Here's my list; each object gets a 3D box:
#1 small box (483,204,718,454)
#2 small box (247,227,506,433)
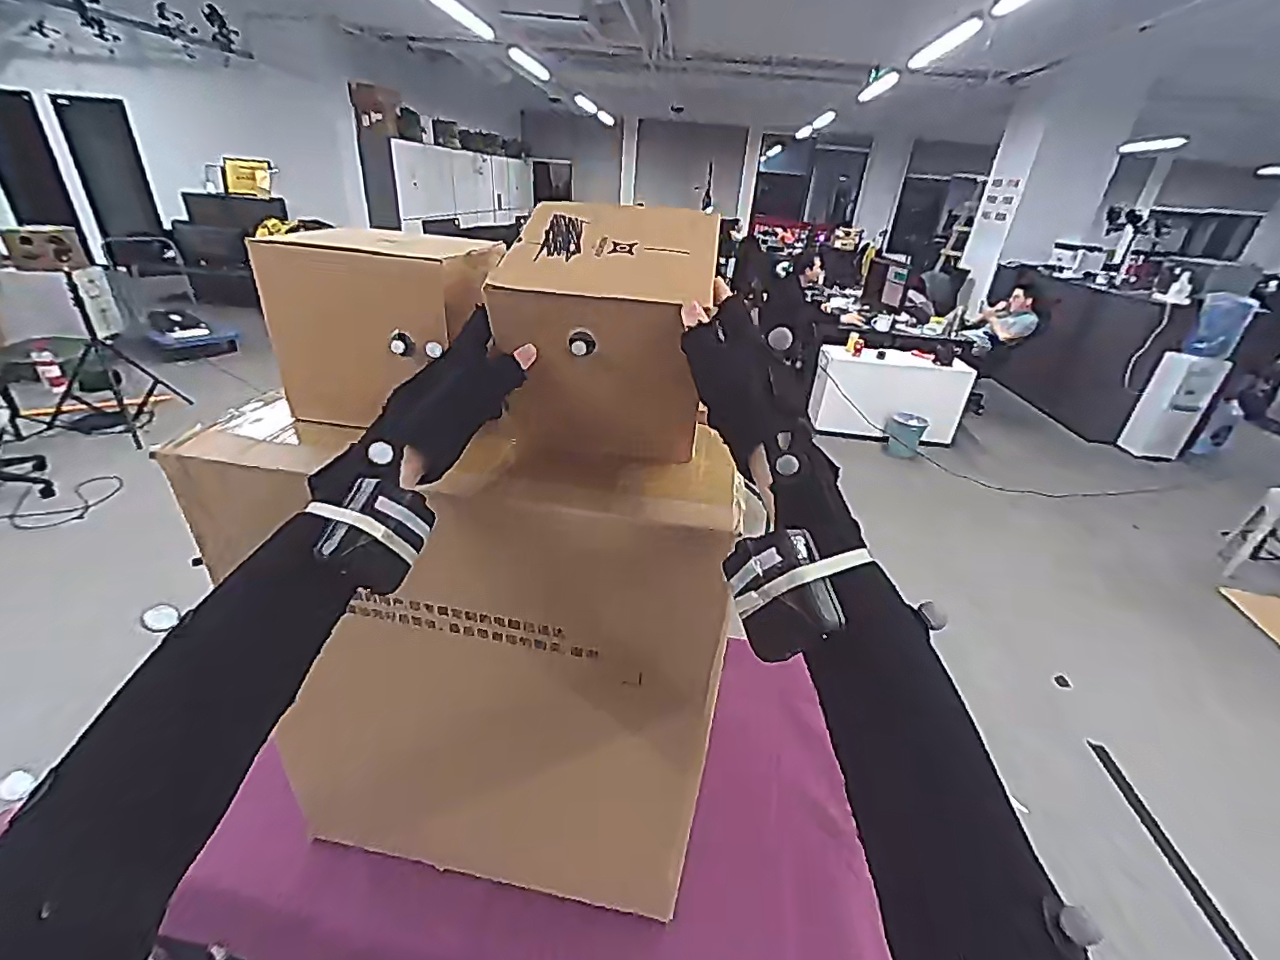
[{"bbox_3d":[-0.025,-0.142,0.516,0.179,0.176,0.168,7,47,4],"label":"small box"},{"bbox_3d":[-0.247,-0.159,0.562,0.179,0.176,0.168,6,28,3],"label":"small box"}]
